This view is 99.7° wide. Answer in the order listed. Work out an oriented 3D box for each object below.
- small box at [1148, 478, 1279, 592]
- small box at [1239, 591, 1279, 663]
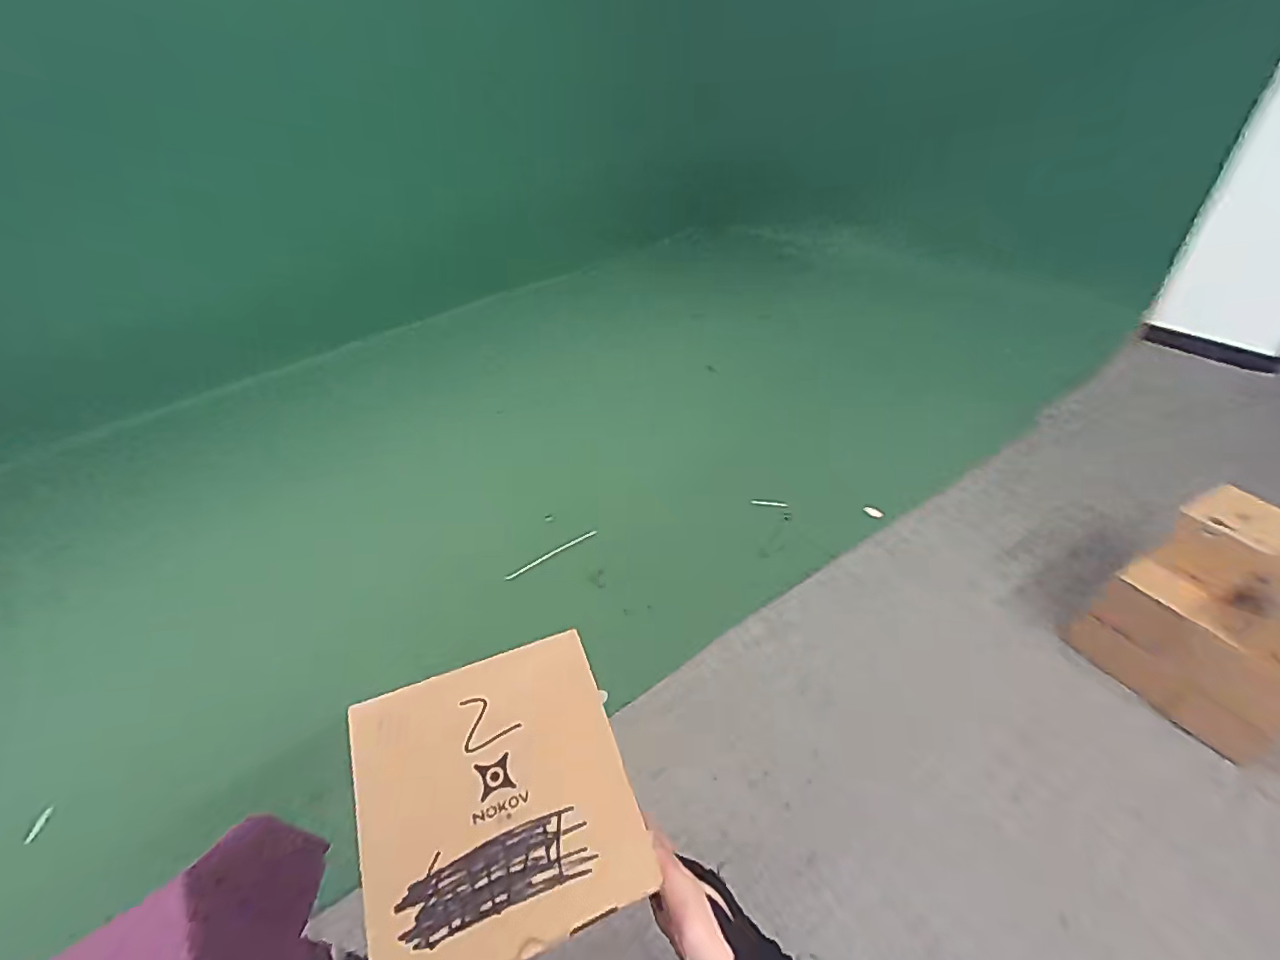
[{"bbox_3d":[1.370,0.129,1.276,0.179,0.176,0.168,-22,42,-17],"label":"small box"},{"bbox_3d":[1.389,0.292,1.090,0.179,0.176,0.168,-22,45,-16],"label":"small box"}]
